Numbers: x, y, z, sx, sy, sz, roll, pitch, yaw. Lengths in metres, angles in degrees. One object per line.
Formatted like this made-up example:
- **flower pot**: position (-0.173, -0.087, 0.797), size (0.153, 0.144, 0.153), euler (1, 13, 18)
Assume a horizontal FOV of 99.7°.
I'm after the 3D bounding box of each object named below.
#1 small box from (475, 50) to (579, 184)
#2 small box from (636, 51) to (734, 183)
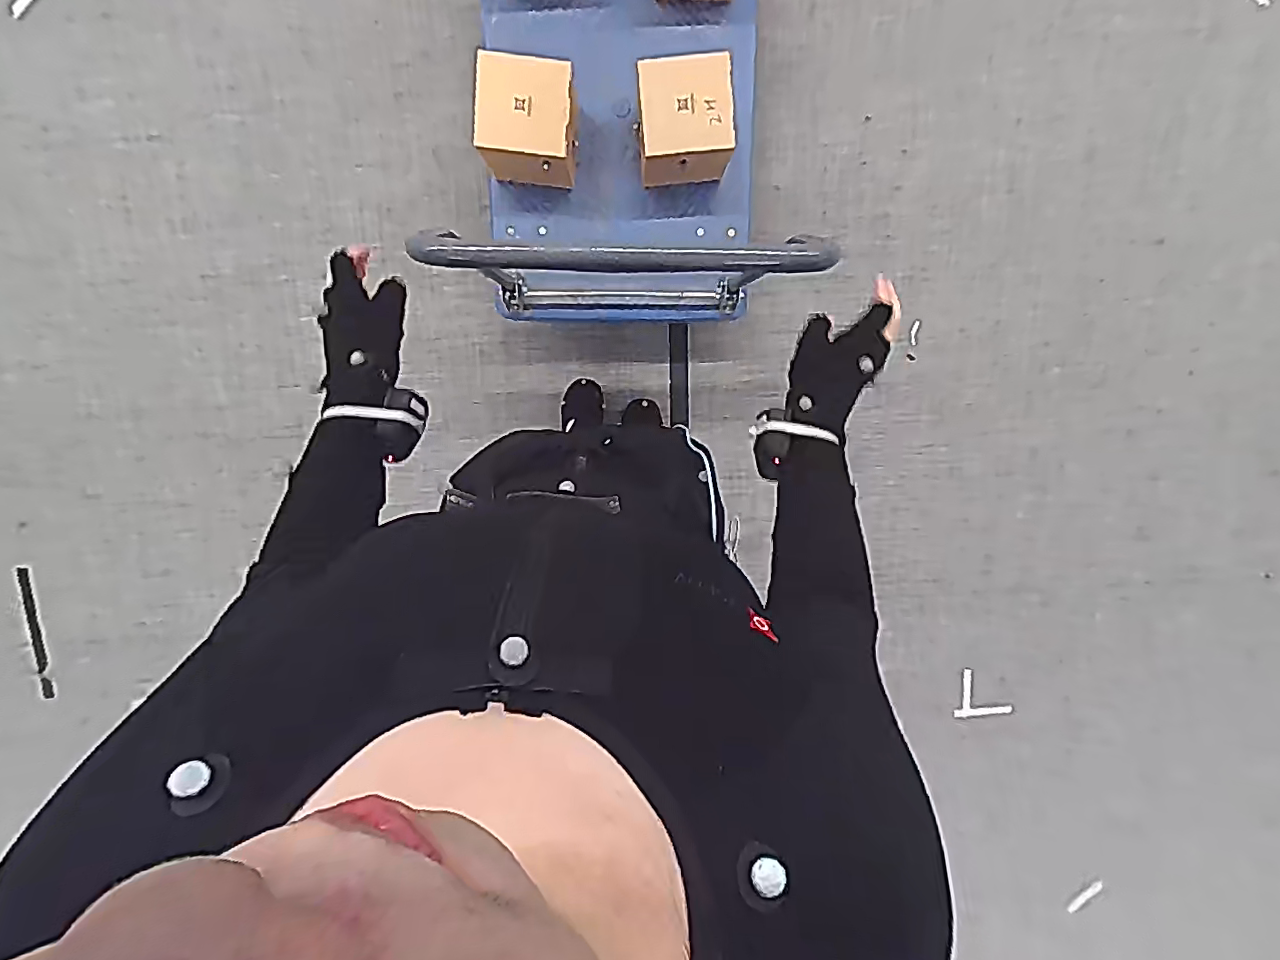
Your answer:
- **small box**: position (-0.221, -0.718, 1.088), size (0.179, 0.176, 0.168), euler (5, 100, -4)
- **small box**: position (0.086, -0.721, 1.094), size (0.179, 0.176, 0.168), euler (-5, 101, 0)
